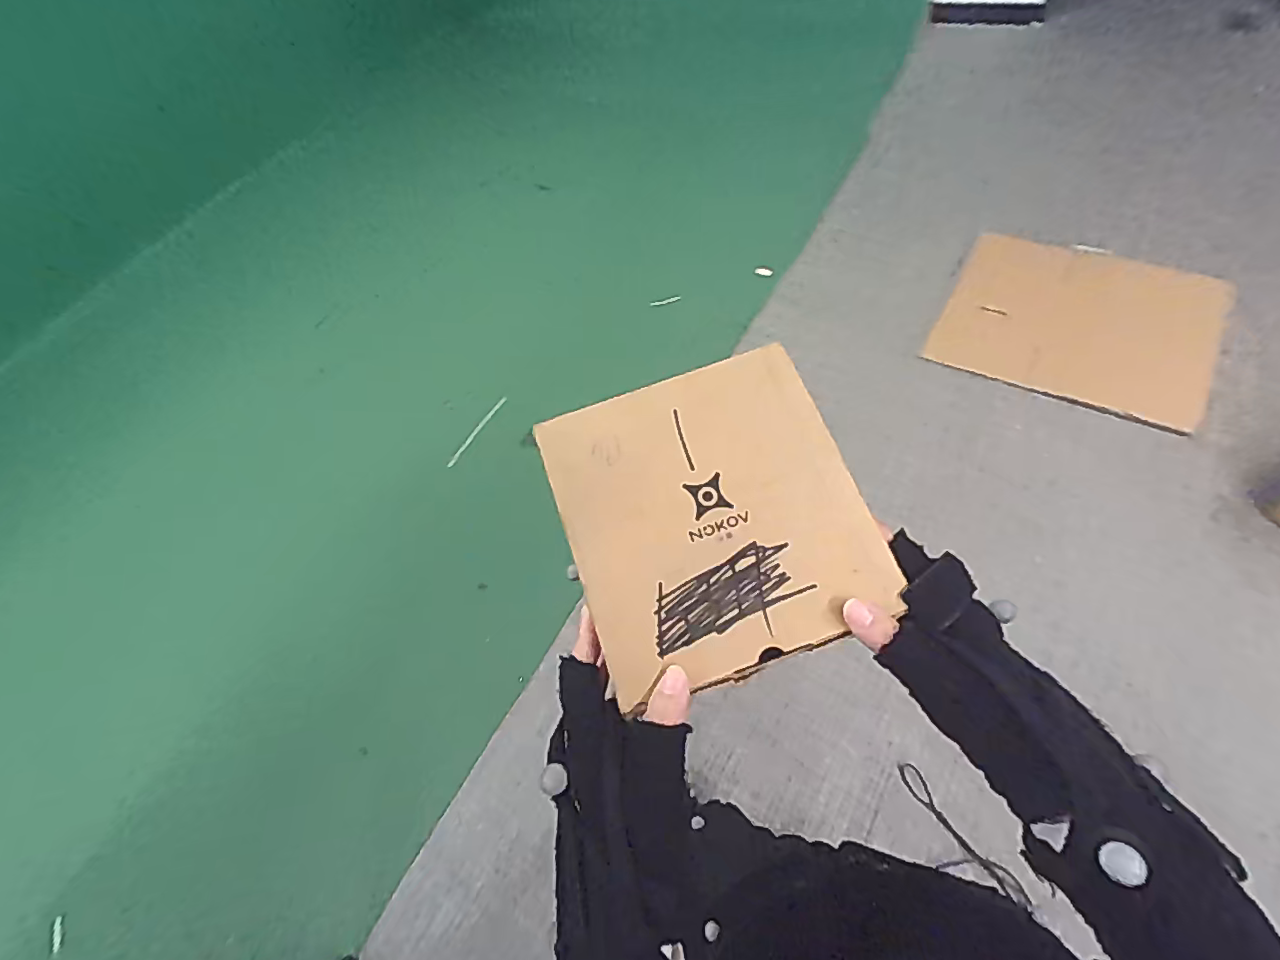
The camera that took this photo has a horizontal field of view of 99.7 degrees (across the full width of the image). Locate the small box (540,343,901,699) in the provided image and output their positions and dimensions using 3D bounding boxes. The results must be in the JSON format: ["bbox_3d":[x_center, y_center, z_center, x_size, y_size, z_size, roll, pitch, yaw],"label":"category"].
[{"bbox_3d":[0.046,0.039,0.389,0.168,0.176,0.179,-19,70,-3],"label":"small box"}]
